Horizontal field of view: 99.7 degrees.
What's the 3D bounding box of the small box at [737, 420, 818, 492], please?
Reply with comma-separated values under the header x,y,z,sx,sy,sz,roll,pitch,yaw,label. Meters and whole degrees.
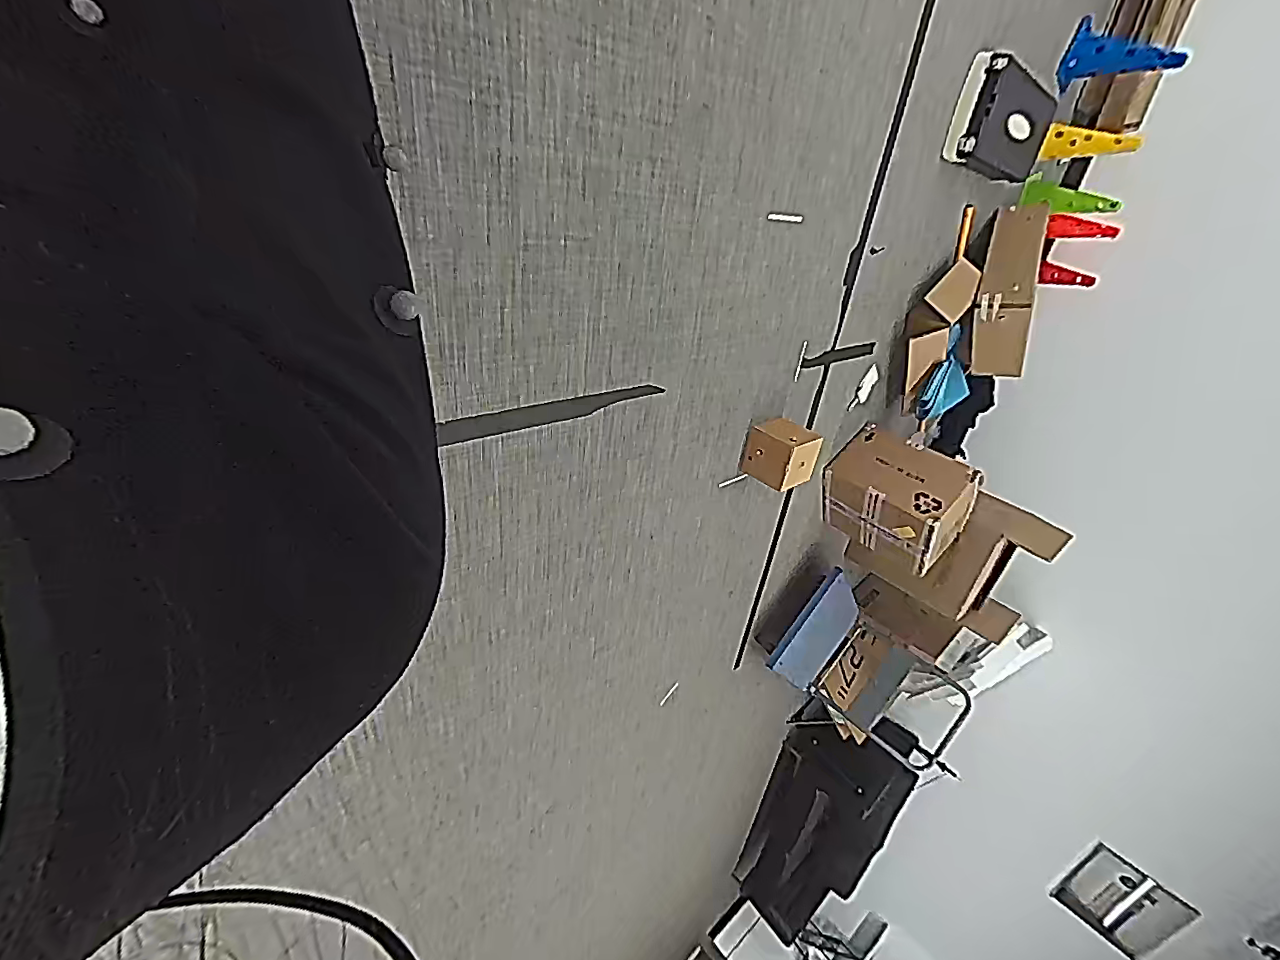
x,y,z,sx,sy,sz,roll,pitch,yaw,label
0.452,-0.086,1.787,0.179,0.176,0.168,-19,130,-39,small box
